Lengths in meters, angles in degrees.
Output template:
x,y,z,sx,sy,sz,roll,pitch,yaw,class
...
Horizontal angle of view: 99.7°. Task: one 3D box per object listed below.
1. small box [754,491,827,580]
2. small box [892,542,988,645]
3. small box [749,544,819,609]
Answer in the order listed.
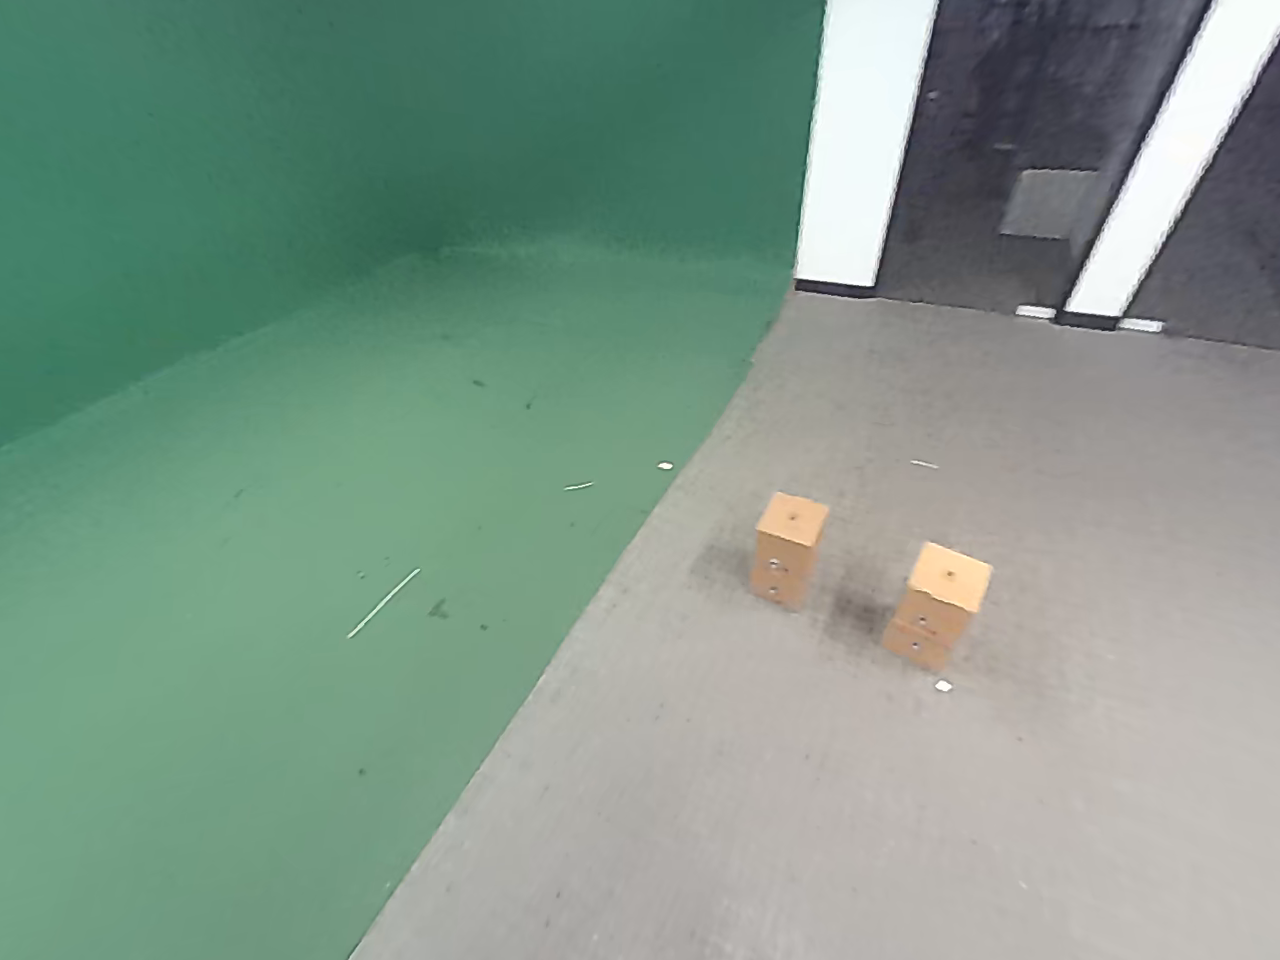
x,y,z,sx,sy,sz,roll,pitch,yaw,class
0.451,0.169,1.640,0.168,0.176,0.179,17,49,24,small box
0.803,0.306,1.458,0.168,0.176,0.179,24,52,28,small box
0.462,0.286,1.754,0.168,0.176,0.179,21,50,25,small box
